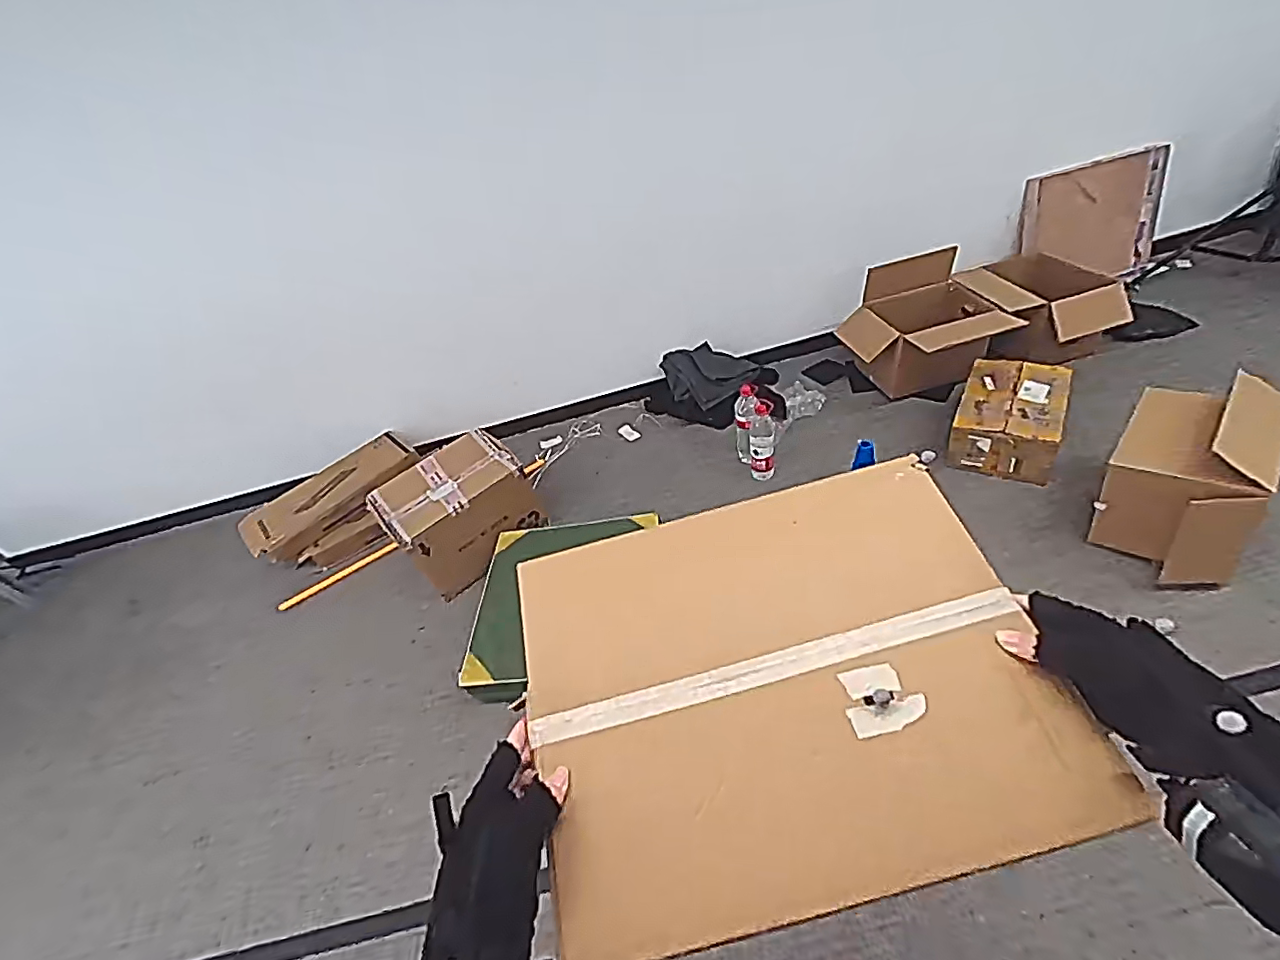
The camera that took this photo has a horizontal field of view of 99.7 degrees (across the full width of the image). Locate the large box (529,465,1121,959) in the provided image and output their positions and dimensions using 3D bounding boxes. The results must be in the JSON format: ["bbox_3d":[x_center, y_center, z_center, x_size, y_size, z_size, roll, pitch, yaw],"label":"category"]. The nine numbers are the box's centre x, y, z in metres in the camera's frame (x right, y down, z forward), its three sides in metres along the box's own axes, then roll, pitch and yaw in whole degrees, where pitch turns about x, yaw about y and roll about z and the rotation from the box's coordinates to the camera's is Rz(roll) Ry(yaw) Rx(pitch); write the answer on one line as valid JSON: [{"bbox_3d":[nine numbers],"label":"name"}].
[{"bbox_3d":[0.134,0.241,0.578,0.408,0.320,0.320,-16,55,0],"label":"large box"}]
